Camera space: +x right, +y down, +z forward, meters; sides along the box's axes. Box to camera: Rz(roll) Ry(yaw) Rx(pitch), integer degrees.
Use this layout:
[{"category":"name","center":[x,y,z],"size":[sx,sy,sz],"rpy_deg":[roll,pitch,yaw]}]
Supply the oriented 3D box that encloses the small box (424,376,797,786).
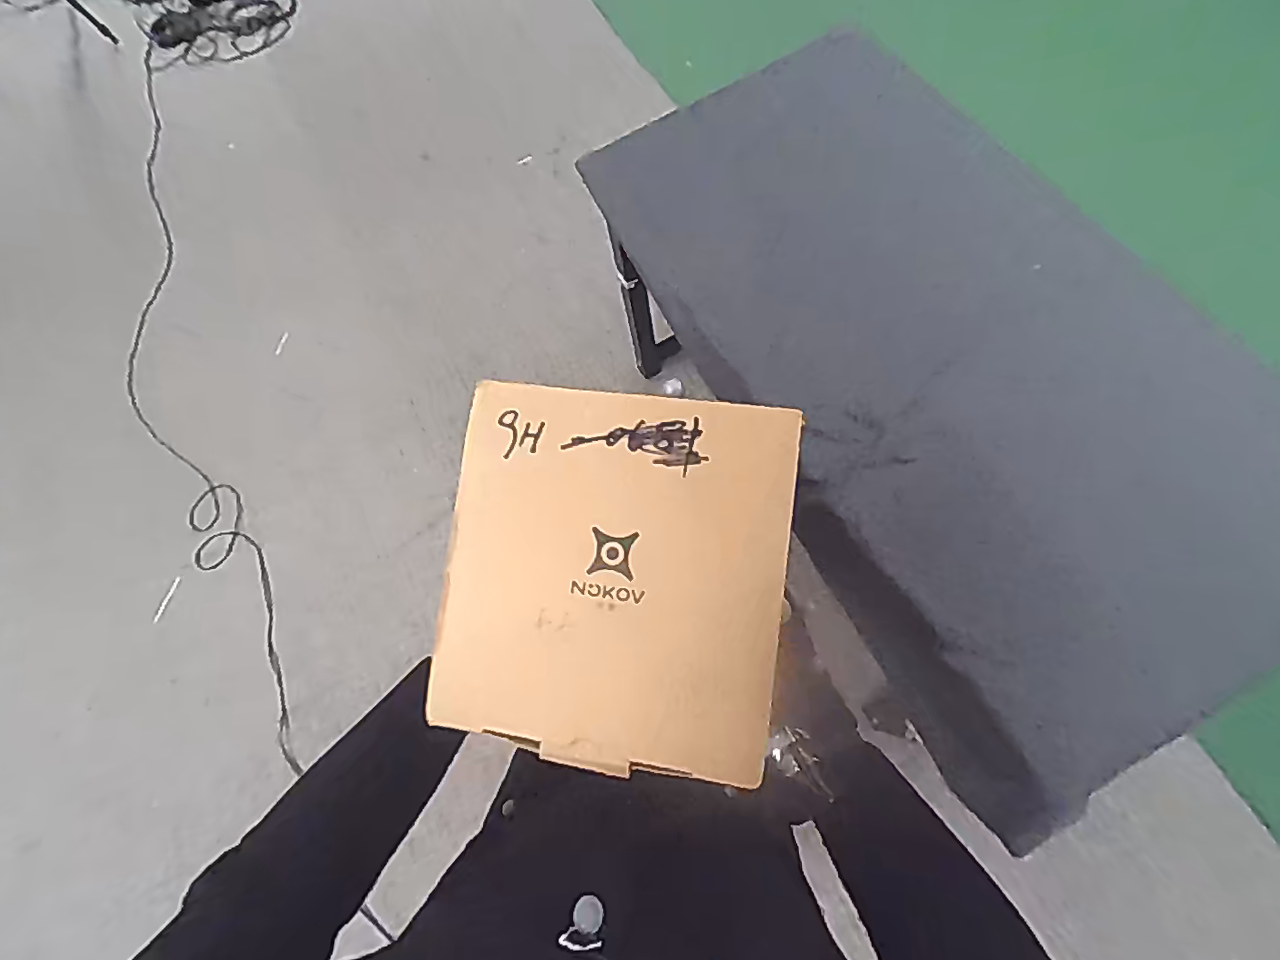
[{"category":"small box","center":[-0.005,0.047,0.337],"size":[0.168,0.176,0.179],"rpy_deg":[7,88,9]}]
